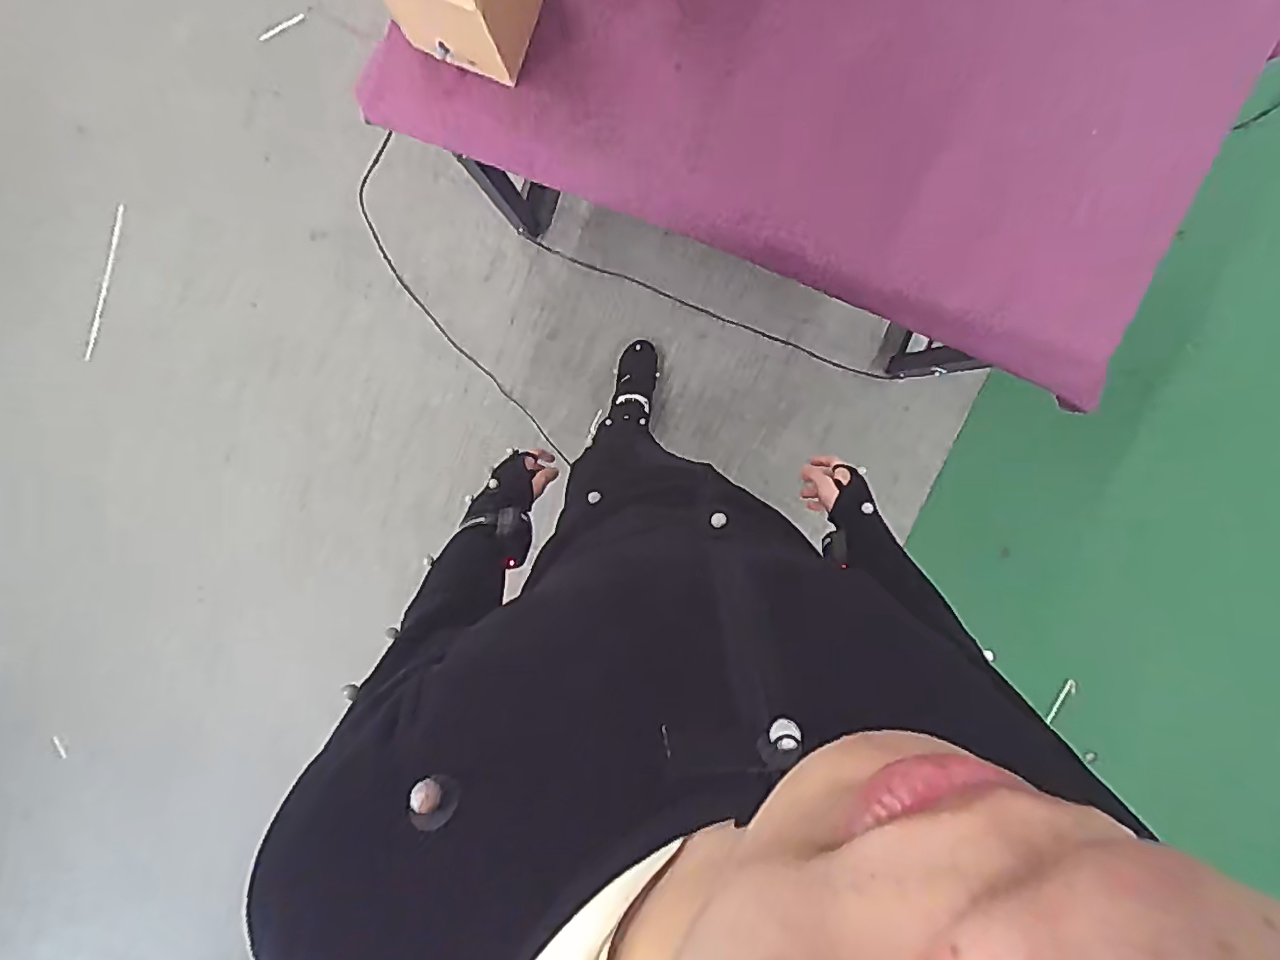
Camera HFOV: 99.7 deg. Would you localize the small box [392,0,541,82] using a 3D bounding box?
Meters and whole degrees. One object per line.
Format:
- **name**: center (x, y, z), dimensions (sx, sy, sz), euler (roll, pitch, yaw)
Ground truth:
- **small box**: center (-0.237, -0.696, 0.726), dimensions (0.168, 0.176, 0.179), euler (22, 98, 0)
